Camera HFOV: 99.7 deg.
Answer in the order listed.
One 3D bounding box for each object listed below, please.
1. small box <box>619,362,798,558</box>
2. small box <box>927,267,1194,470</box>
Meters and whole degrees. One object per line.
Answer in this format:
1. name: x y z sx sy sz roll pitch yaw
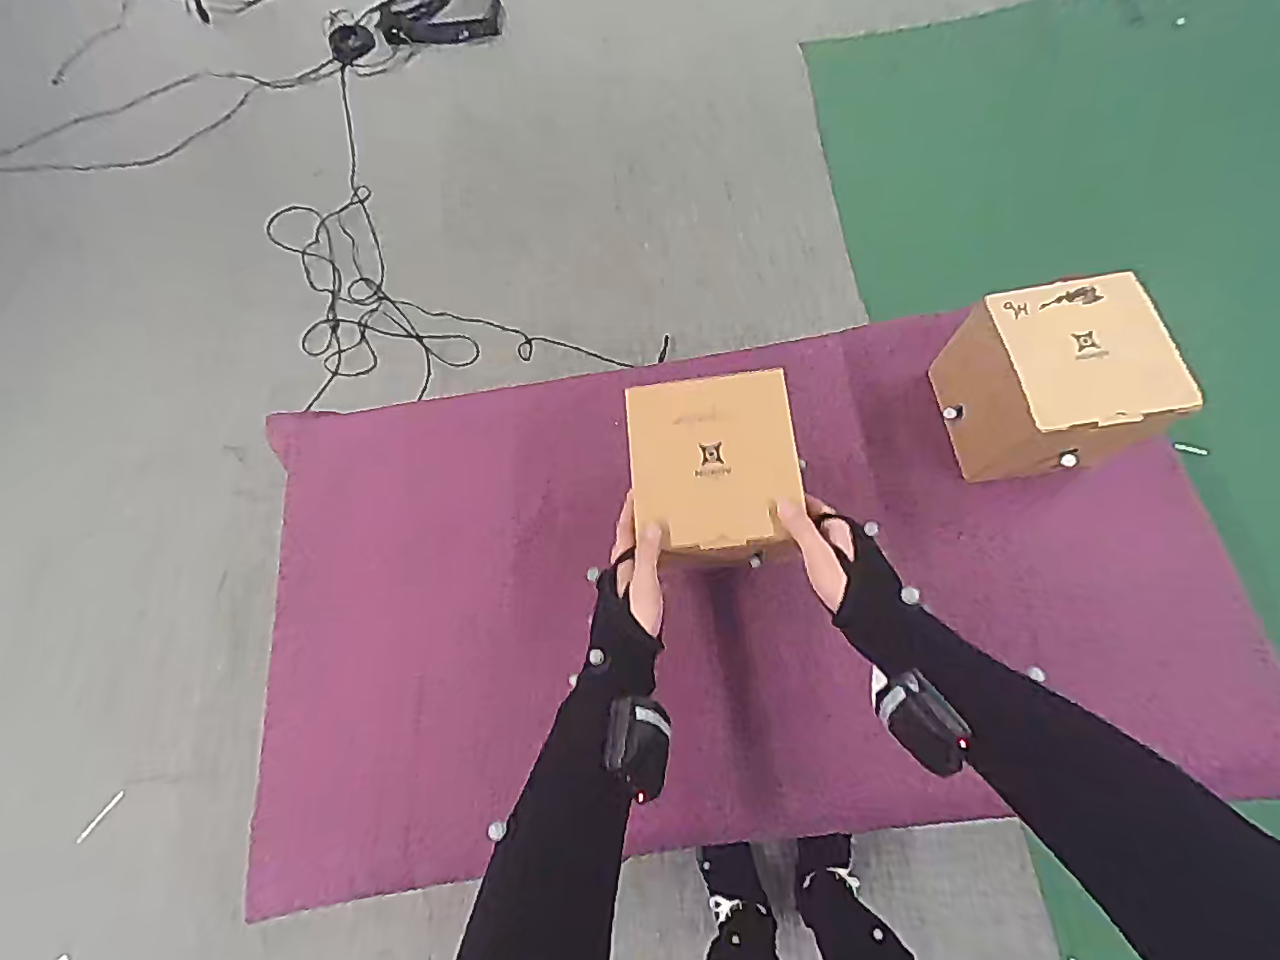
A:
1. small box: 0.075 -0.009 0.611 0.168 0.176 0.179 -6 73 6
2. small box: 0.481 -0.120 0.655 0.168 0.176 0.179 -9 71 4
